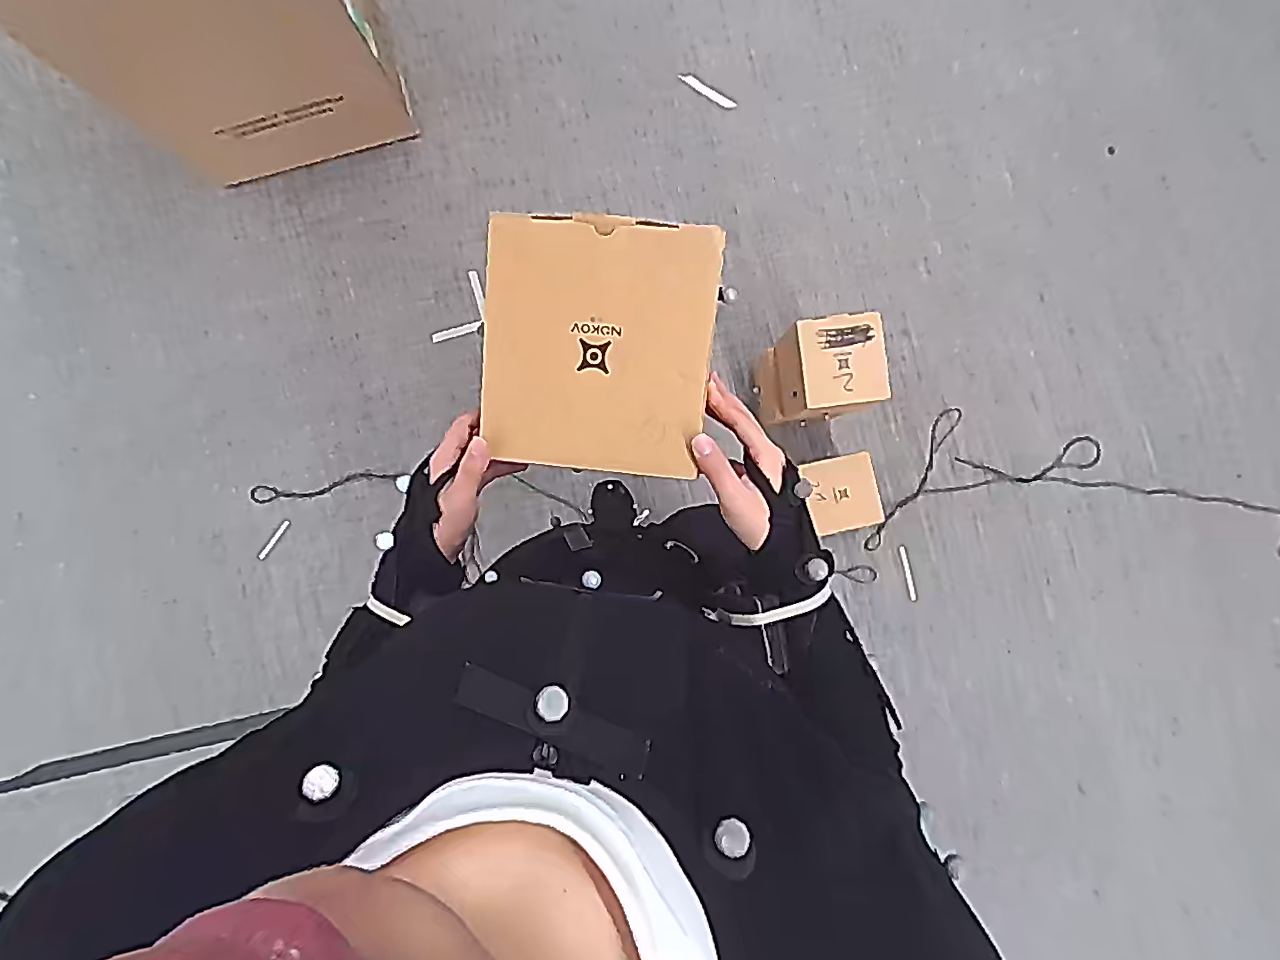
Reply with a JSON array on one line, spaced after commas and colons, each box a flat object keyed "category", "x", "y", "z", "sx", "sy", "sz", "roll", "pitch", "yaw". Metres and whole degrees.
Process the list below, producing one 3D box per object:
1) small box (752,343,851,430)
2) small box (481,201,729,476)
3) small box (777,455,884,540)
[{"category": "small box", "x": 0.378, "y": -0.216, "z": 1.285, "sx": 0.179, "sy": 0.176, "sz": 0.168, "roll": -7, "pitch": 88, "yaw": 0}, {"category": "small box", "x": -0.020, "y": -0.109, "z": 0.453, "sx": 0.168, "sy": 0.176, "sz": 0.179, "roll": 6, "pitch": 99, "yaw": 5}, {"category": "small box", "x": 0.442, "y": 0.041, "z": 1.280, "sx": 0.179, "sy": 0.176, "sz": 0.168, "roll": -12, "pitch": 87, "yaw": 0}]
